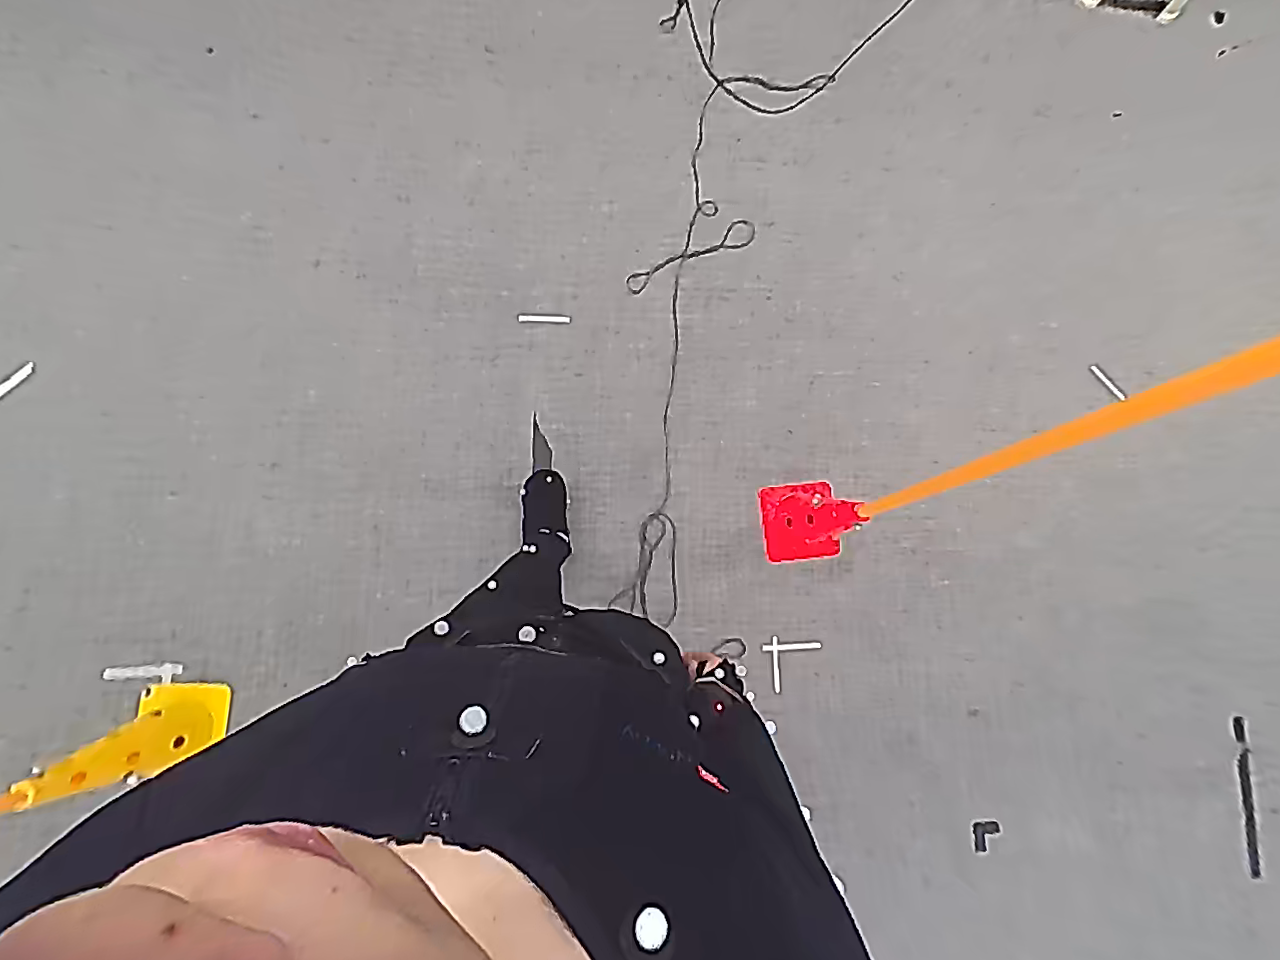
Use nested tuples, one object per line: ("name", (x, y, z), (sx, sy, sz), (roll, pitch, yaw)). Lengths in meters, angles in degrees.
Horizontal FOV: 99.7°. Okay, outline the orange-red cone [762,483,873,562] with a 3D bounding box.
("orange-red cone", (0.432, 0.085, 1.238), (0.199, 0.360, 0.198), (-5, 82, -4))
